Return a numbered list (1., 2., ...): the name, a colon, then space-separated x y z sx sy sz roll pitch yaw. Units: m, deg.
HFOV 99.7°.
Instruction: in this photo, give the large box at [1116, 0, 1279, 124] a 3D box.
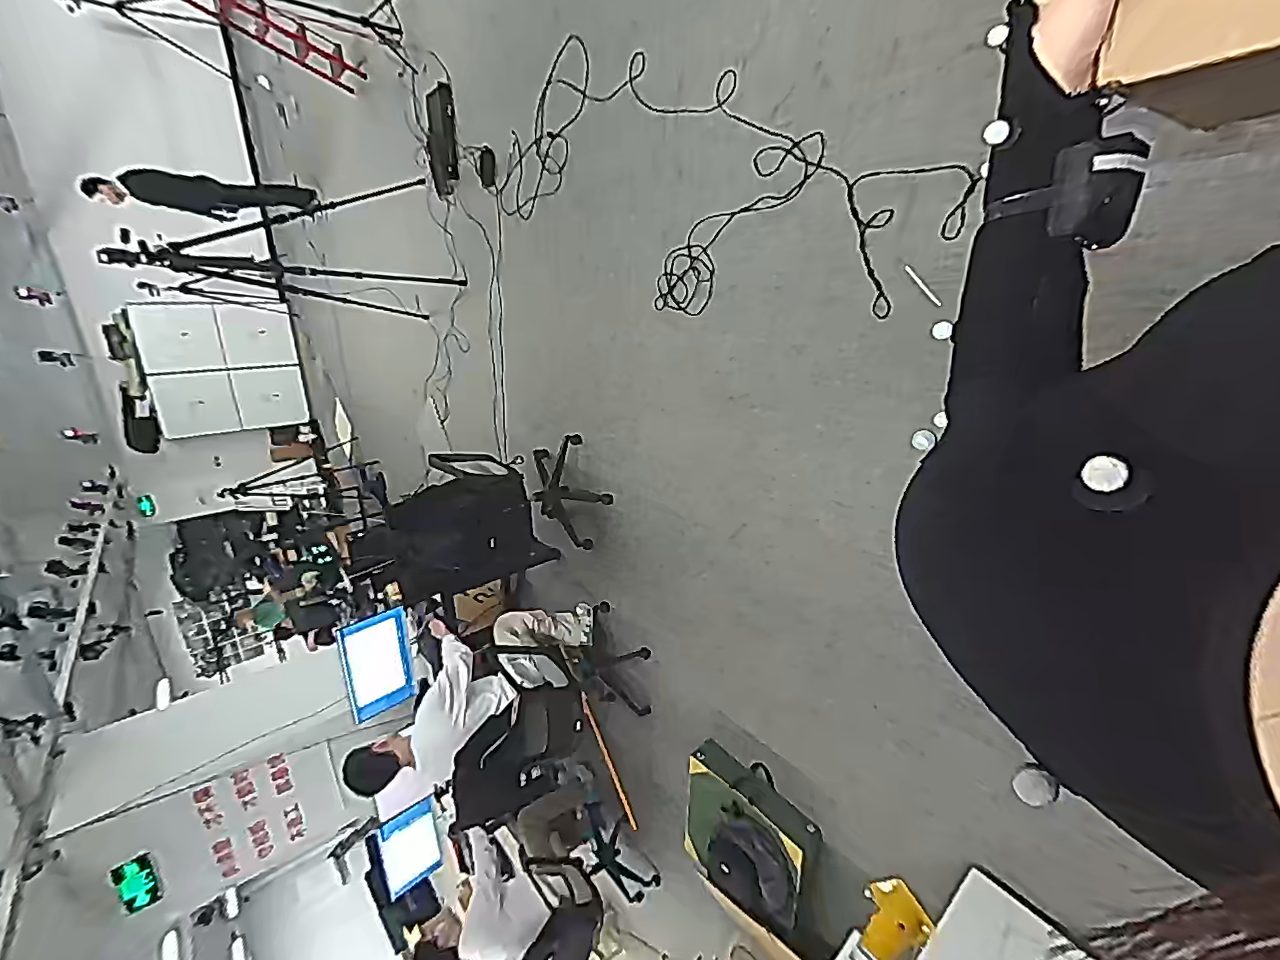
1. large box: 0.543 -0.420 0.259 0.408 0.320 0.320 17 120 48
